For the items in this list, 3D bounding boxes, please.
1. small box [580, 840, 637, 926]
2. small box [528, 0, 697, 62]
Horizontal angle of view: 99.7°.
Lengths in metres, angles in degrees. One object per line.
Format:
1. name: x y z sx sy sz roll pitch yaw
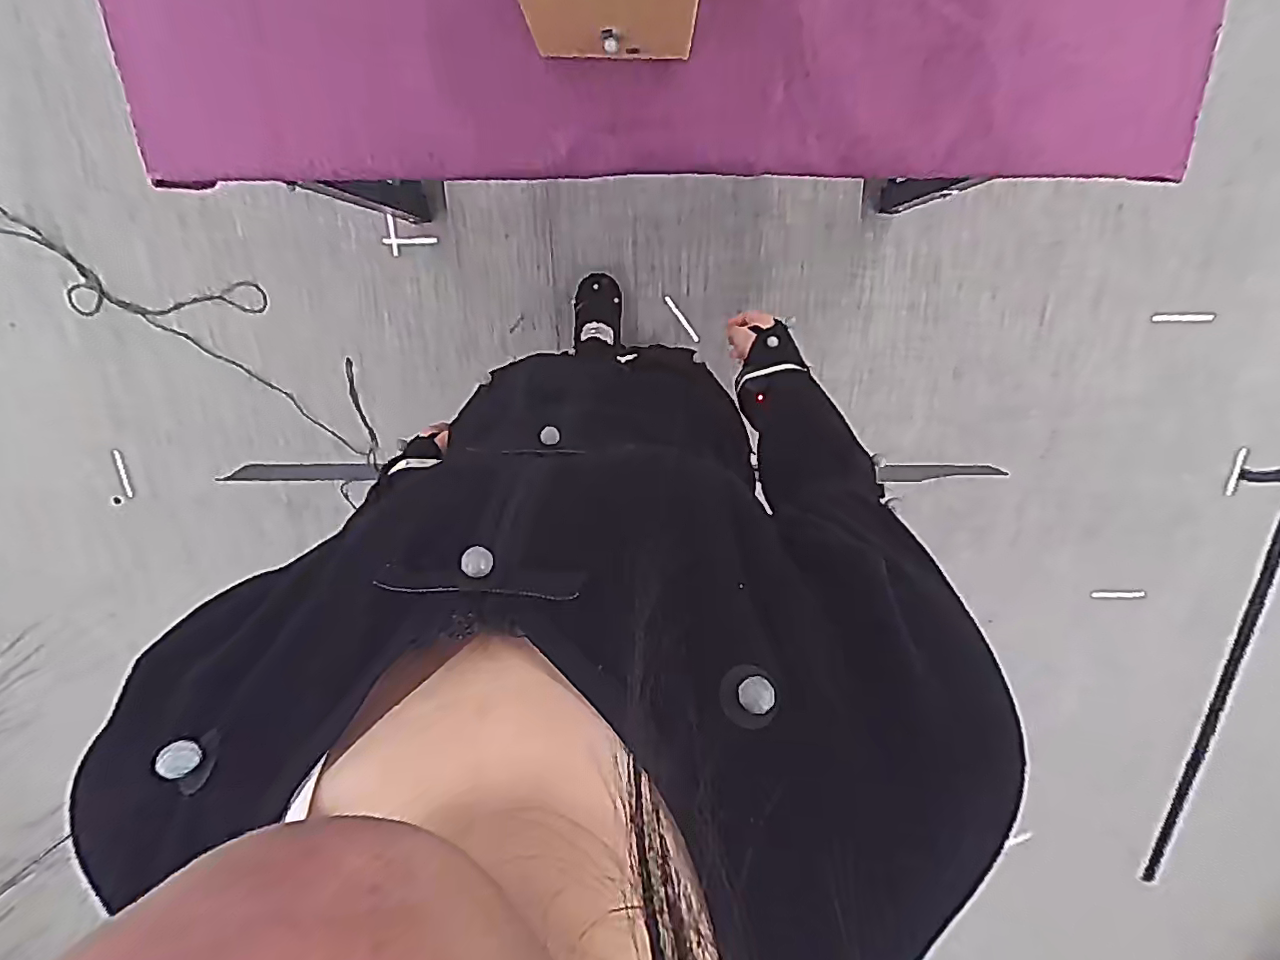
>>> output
1. small box: -0.104 1.393 1.874 0.168 0.176 0.179 -10 108 3
2. small box: -0.027 -0.527 0.498 0.168 0.176 0.179 2 108 1
